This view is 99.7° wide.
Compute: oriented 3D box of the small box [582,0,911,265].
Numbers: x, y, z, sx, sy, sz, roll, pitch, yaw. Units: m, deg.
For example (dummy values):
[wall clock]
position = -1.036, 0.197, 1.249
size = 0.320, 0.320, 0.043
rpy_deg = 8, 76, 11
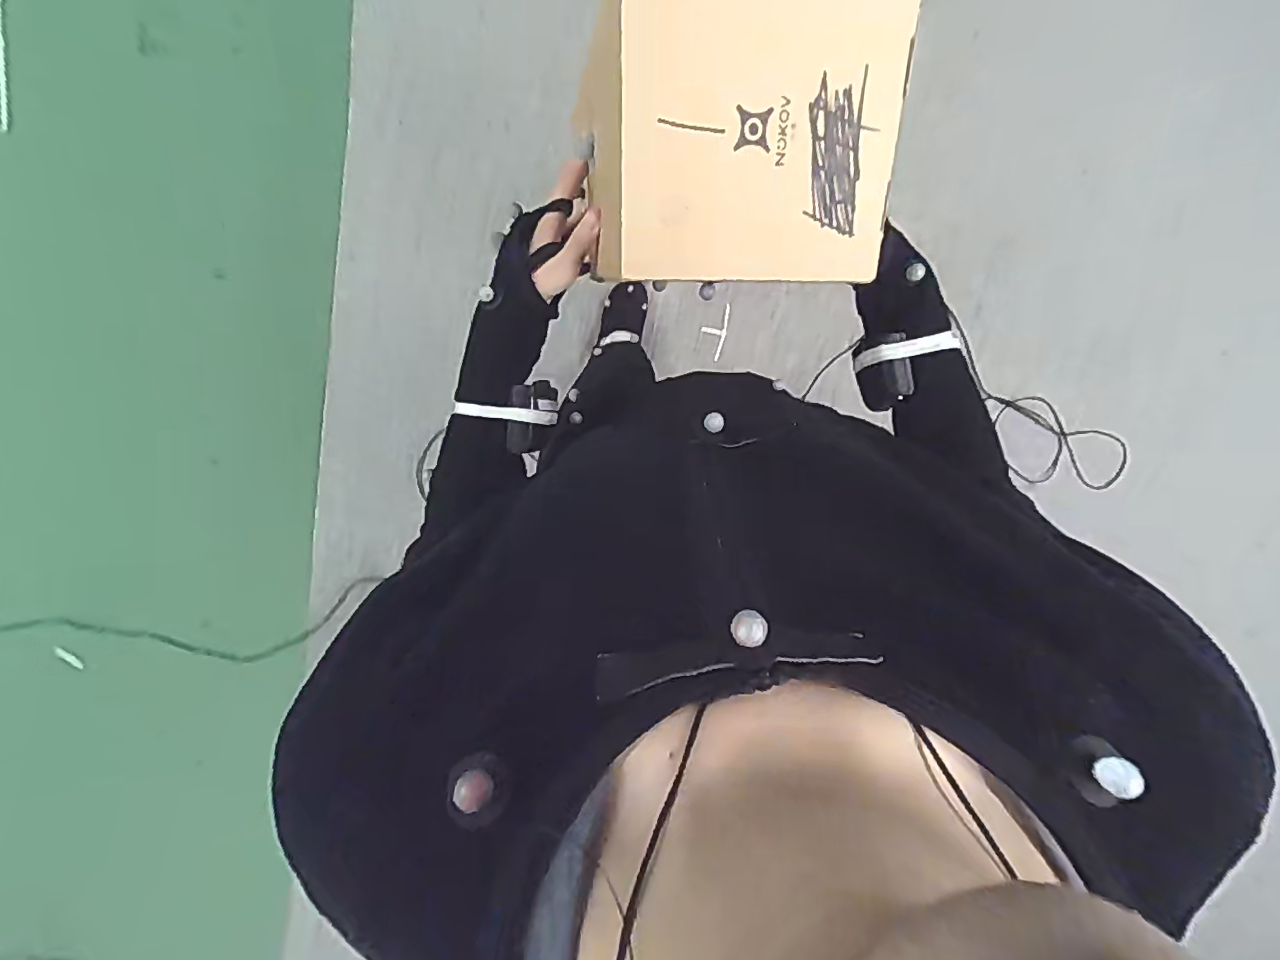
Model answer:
[small box]
position = 0.053, -0.246, 0.387
size = 0.179, 0.176, 0.168
rpy_deg = -3, 112, -10
